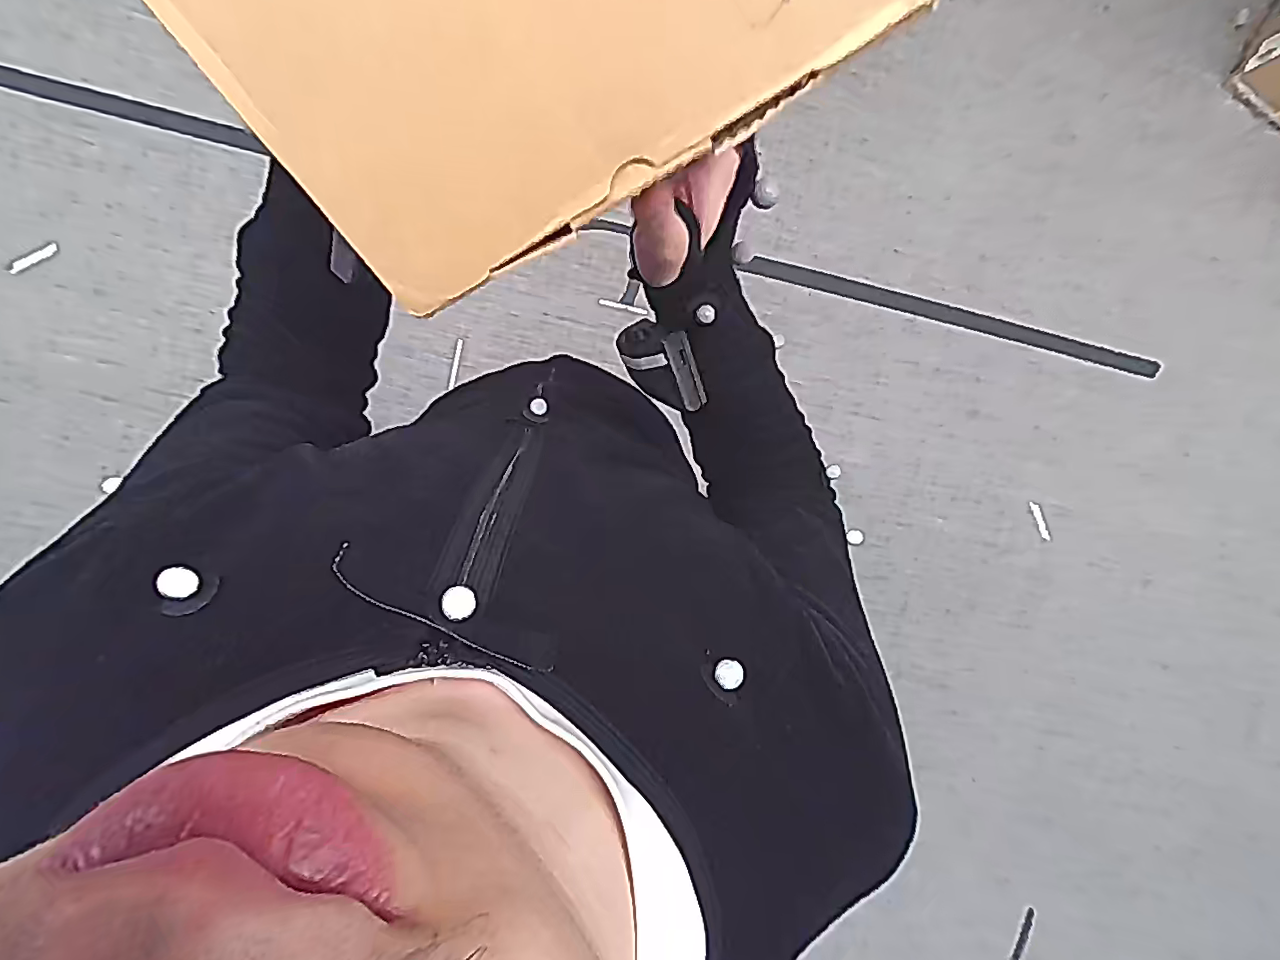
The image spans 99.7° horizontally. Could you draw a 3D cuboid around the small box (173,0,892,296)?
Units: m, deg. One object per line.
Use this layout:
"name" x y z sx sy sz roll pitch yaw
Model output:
"small box" -0.043 -0.200 0.177 0.168 0.176 0.179 -23 124 18
